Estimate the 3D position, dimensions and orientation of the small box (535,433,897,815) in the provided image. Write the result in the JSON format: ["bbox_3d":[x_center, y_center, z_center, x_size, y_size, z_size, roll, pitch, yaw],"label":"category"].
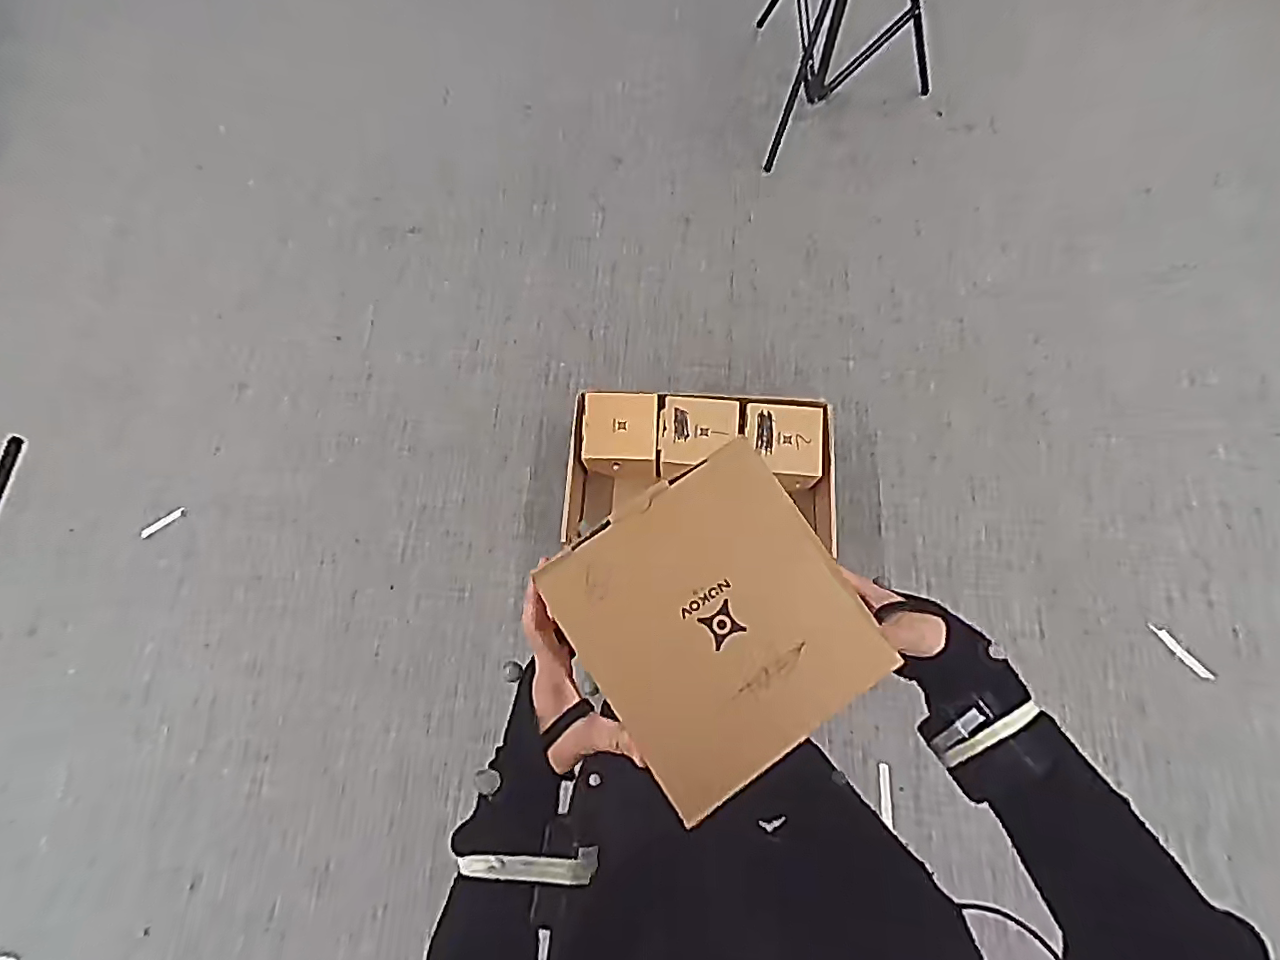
[{"bbox_3d":[0.041,0.095,0.409,0.168,0.176,0.179,-33,85,-8],"label":"small box"}]
